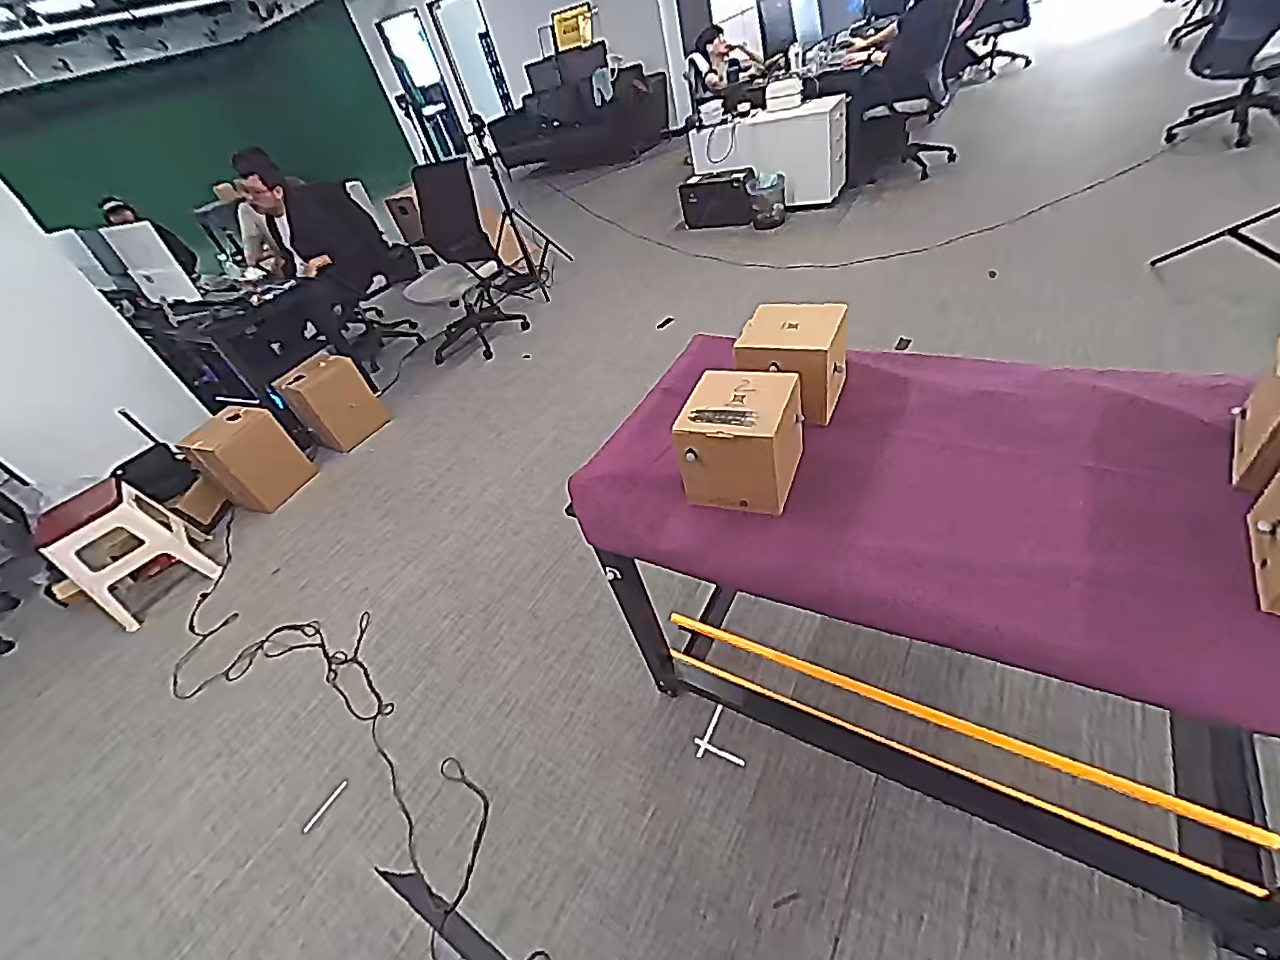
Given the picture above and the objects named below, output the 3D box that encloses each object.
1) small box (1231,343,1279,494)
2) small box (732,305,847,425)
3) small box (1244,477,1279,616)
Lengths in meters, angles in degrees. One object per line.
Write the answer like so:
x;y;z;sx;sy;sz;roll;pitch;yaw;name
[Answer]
0.897;-0.074;0.676;0.179;0.176;0.168;19;54;34;small box
0.299;-0.225;1.063;0.179;0.176;0.168;10;48;28;small box
0.798;0.058;0.564;0.179;0.176;0.168;14;48;33;small box
